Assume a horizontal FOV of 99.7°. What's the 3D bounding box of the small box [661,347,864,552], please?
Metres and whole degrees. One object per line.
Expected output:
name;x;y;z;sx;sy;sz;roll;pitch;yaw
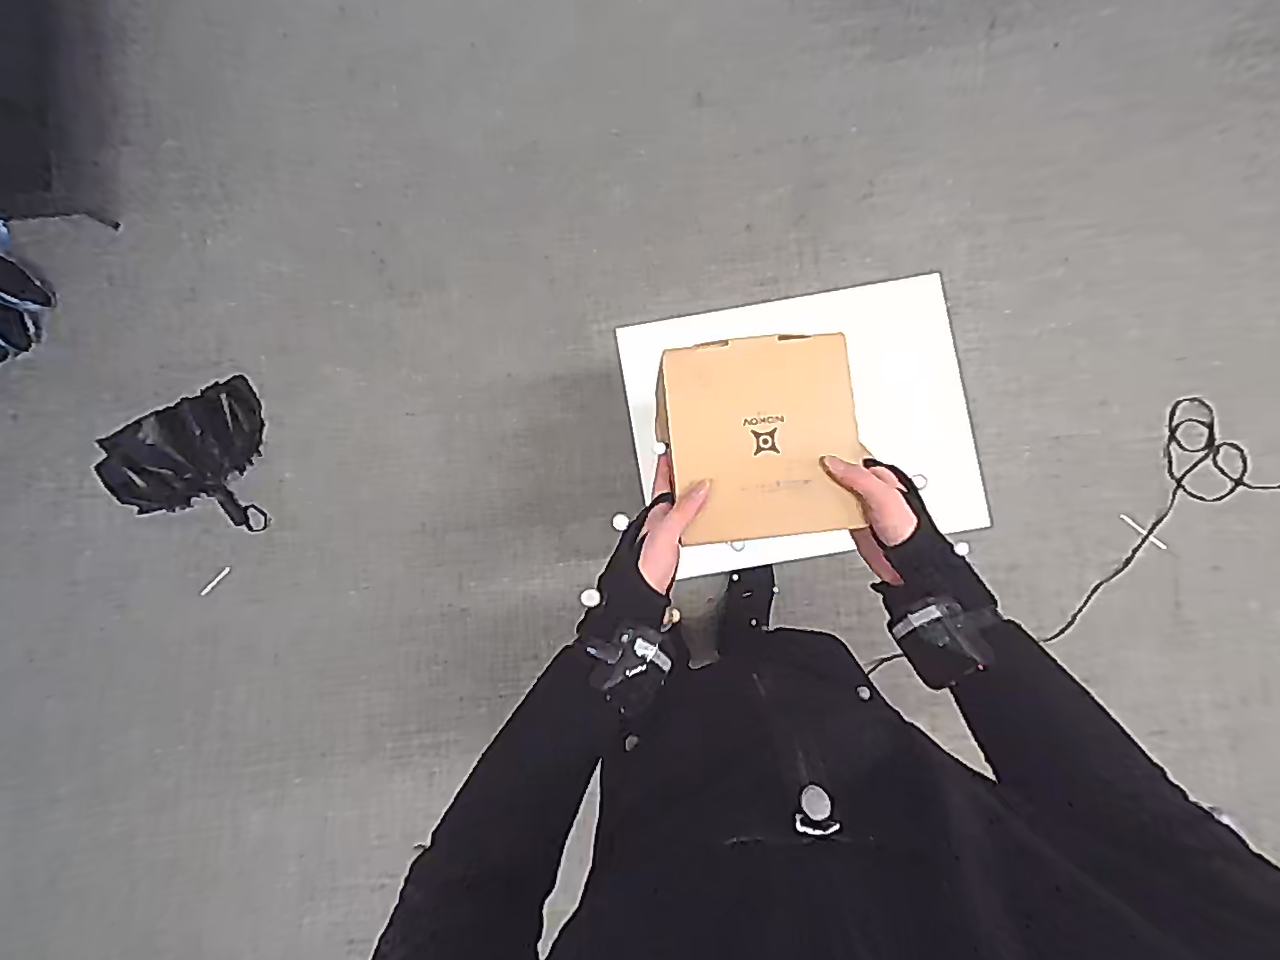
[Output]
small box;0.110;-0.021;0.561;0.168;0.176;0.179;-6;85;2
